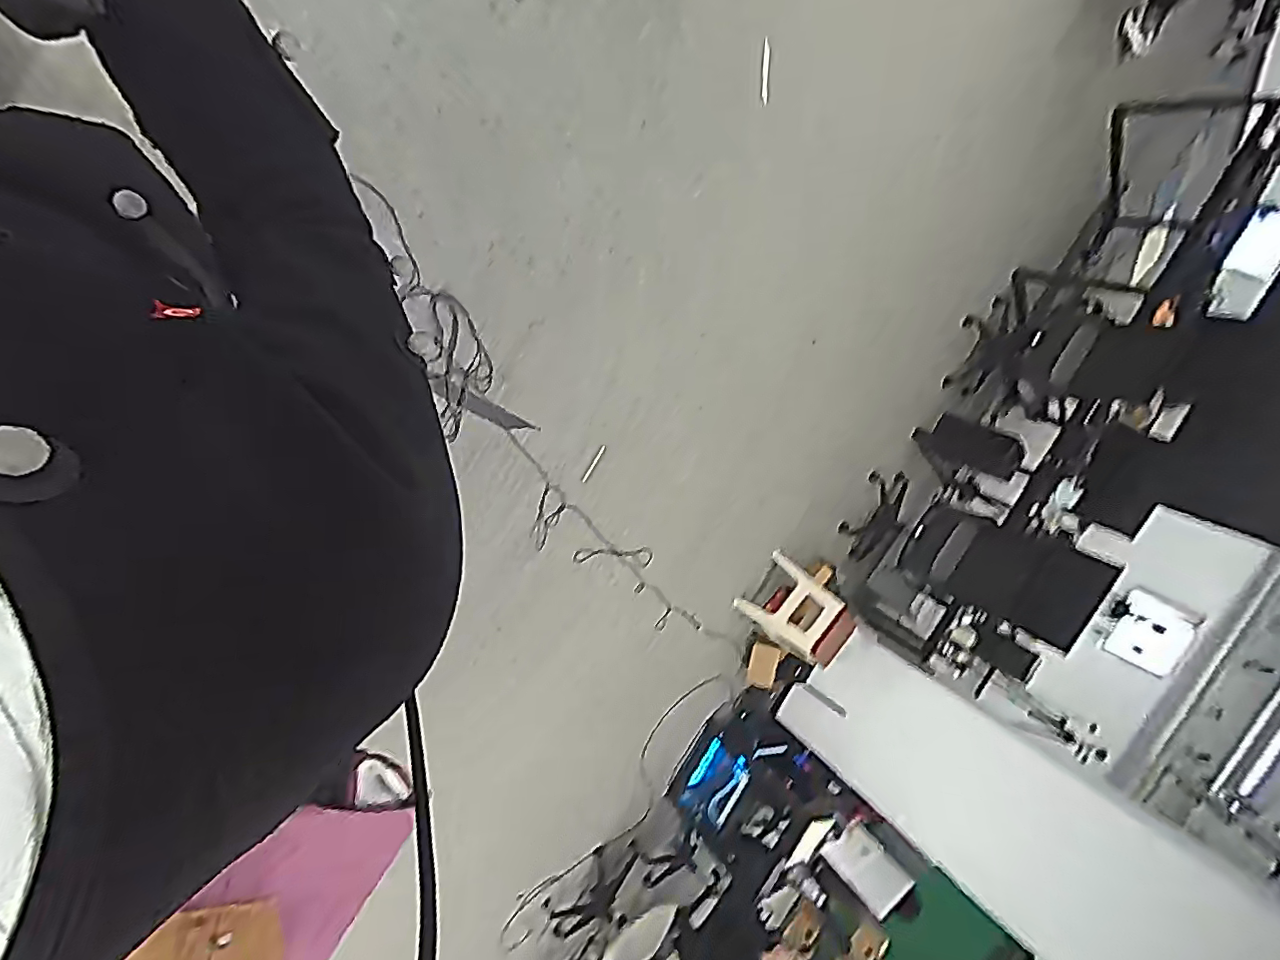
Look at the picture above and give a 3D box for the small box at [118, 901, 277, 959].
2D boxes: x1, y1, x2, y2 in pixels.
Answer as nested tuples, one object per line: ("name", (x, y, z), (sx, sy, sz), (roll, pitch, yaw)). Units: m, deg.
("small box", (-0.602, 0.707, 0.707), (0.179, 0.176, 0.168), (-56, 138, -3))
